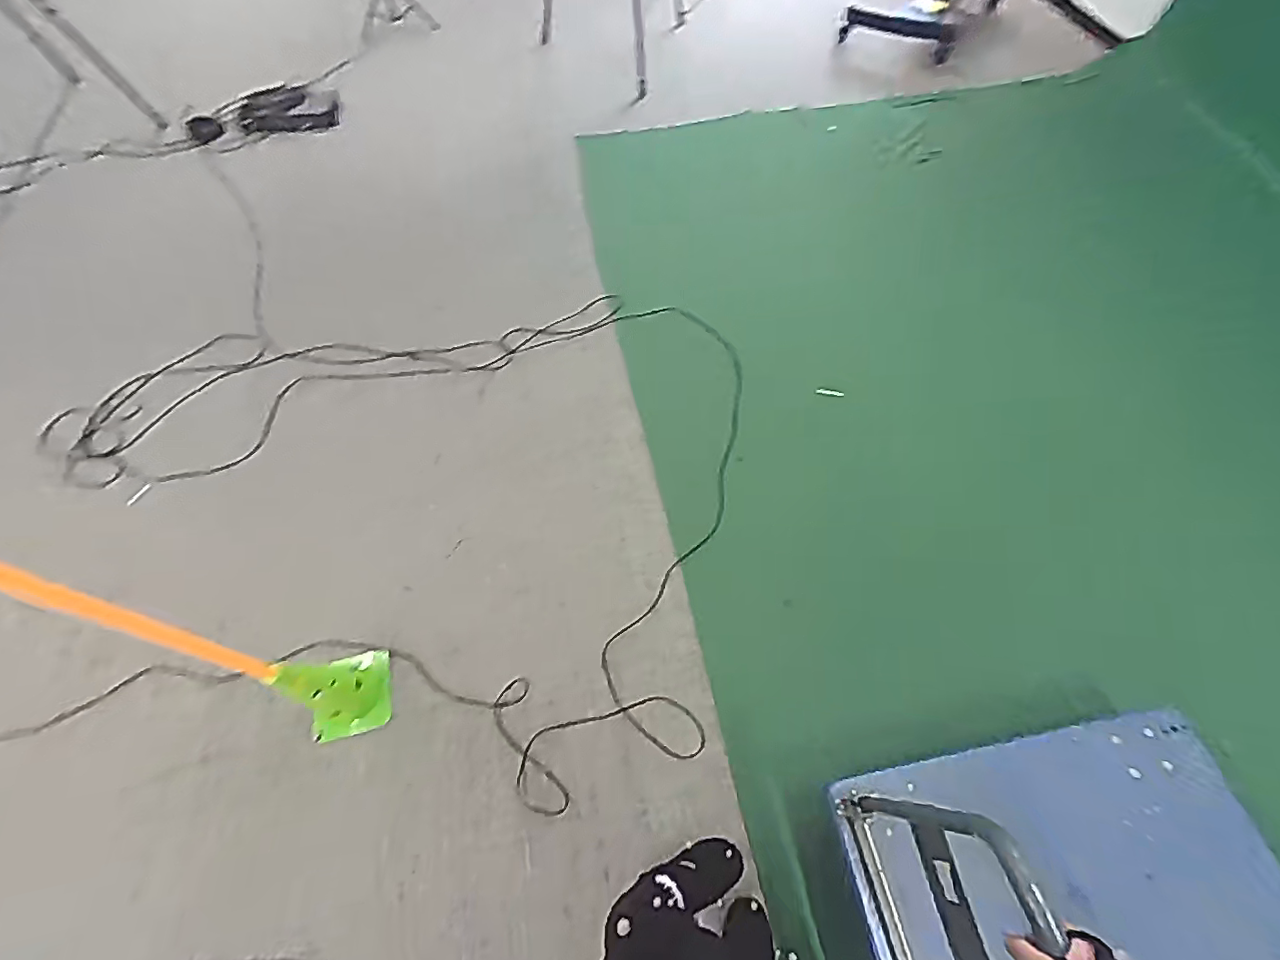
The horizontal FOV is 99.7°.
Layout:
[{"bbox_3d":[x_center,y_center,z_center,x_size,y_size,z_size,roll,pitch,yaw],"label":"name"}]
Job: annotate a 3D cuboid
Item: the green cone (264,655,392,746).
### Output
[{"bbox_3d":[-0.779,0.507,1.316,0.200,0.368,0.202,-14,60,-6],"label":"green cone"}]
